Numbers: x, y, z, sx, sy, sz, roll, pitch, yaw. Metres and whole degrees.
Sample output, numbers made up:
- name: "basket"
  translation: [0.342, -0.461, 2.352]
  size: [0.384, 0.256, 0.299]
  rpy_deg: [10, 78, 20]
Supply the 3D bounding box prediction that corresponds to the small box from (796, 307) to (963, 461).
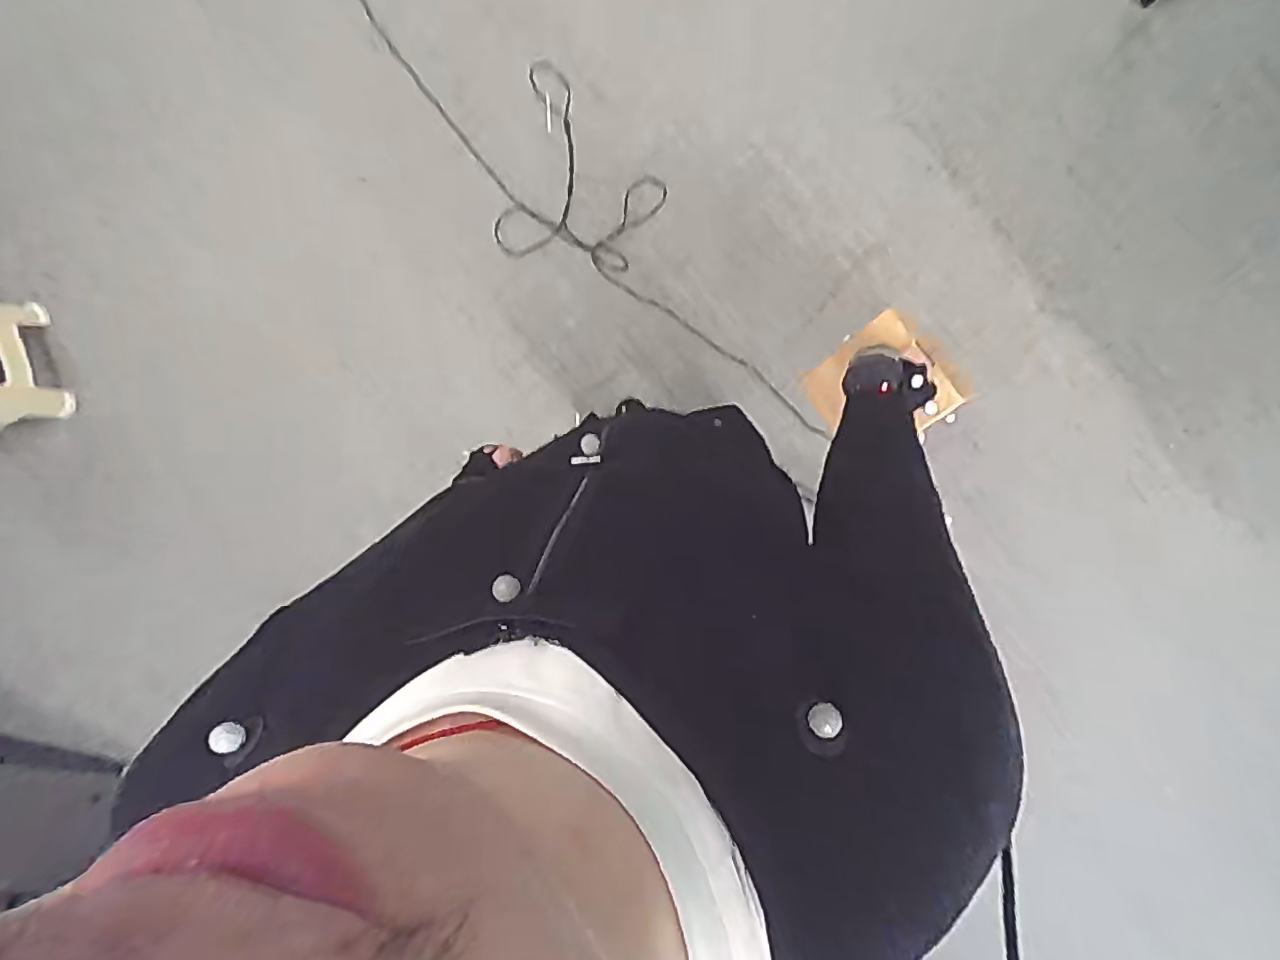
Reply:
- name: "small box"
  translation: [0.373, -0.148, 0.853]
  size: [0.176, 0.179, 0.168]
  rpy_deg: [-41, 79, 33]
